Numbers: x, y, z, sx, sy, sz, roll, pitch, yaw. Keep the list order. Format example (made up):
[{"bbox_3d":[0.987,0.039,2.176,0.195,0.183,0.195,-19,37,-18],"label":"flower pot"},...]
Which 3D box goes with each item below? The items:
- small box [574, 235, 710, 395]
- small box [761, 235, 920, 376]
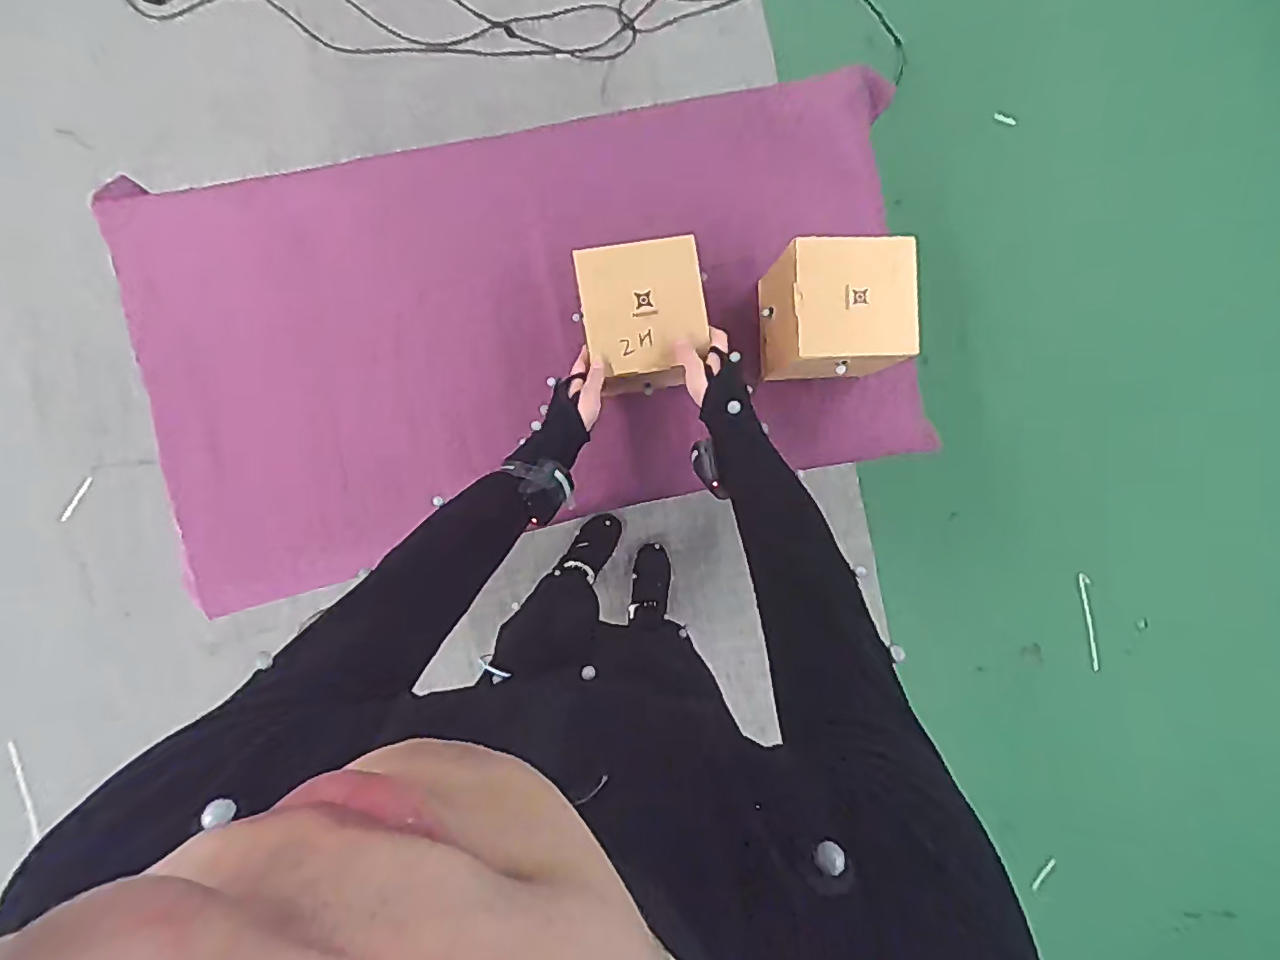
[{"bbox_3d":[0.000,-0.231,0.795,0.168,0.176,0.179,-8,92,-1],"label":"small box"},{"bbox_3d":[0.293,-0.254,0.817,0.179,0.176,0.168,-3,92,-2],"label":"small box"}]
